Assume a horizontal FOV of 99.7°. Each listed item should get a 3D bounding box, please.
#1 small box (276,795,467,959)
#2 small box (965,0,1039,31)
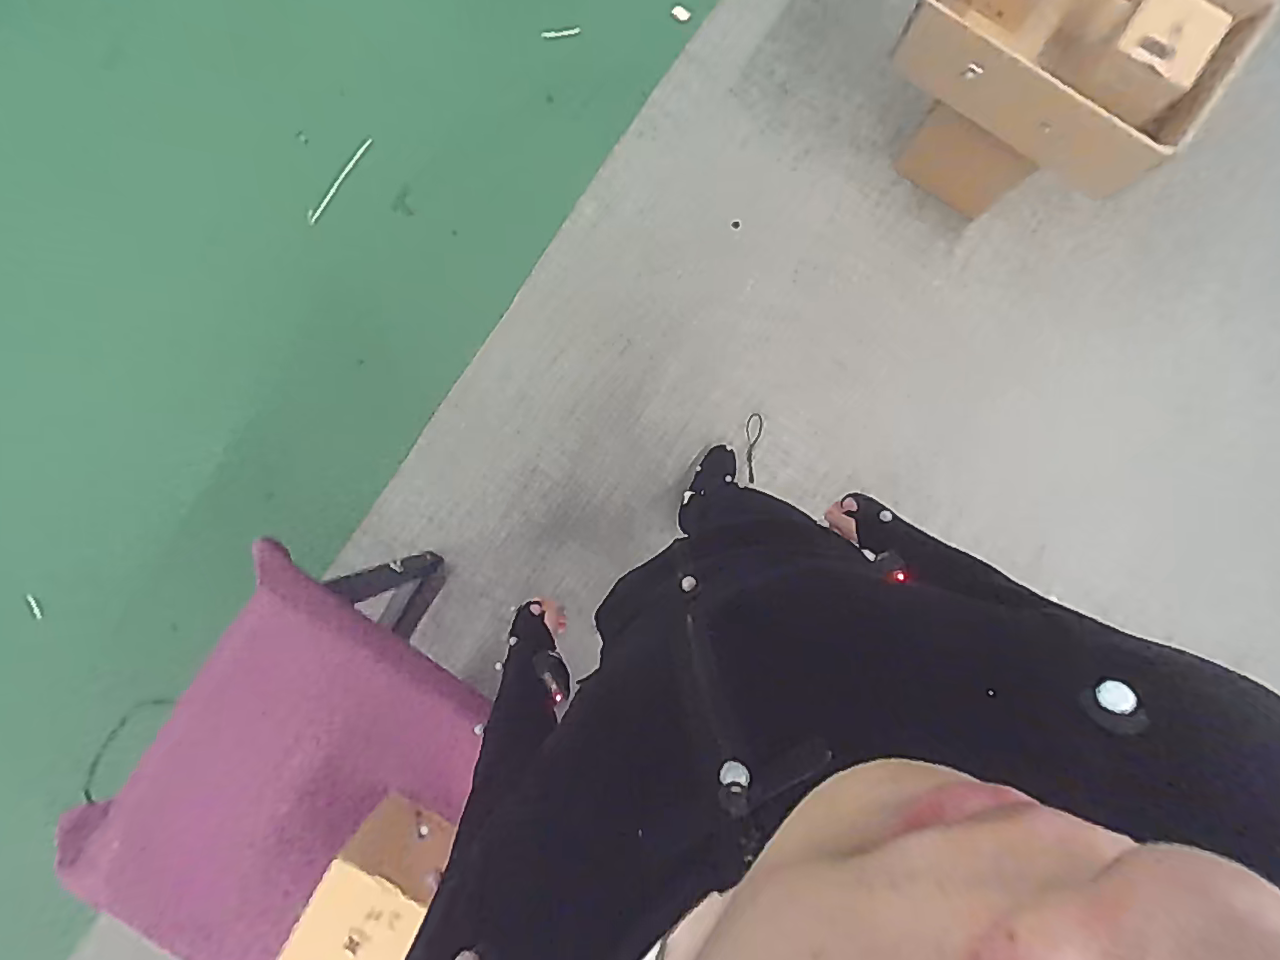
[{"bbox_3d":[-0.389,0.631,0.817,0.168,0.176,0.179,30,89,0],"label":"small box"},{"bbox_3d":[0.831,-1.133,1.151,0.168,0.176,0.179,36,89,1],"label":"small box"}]
